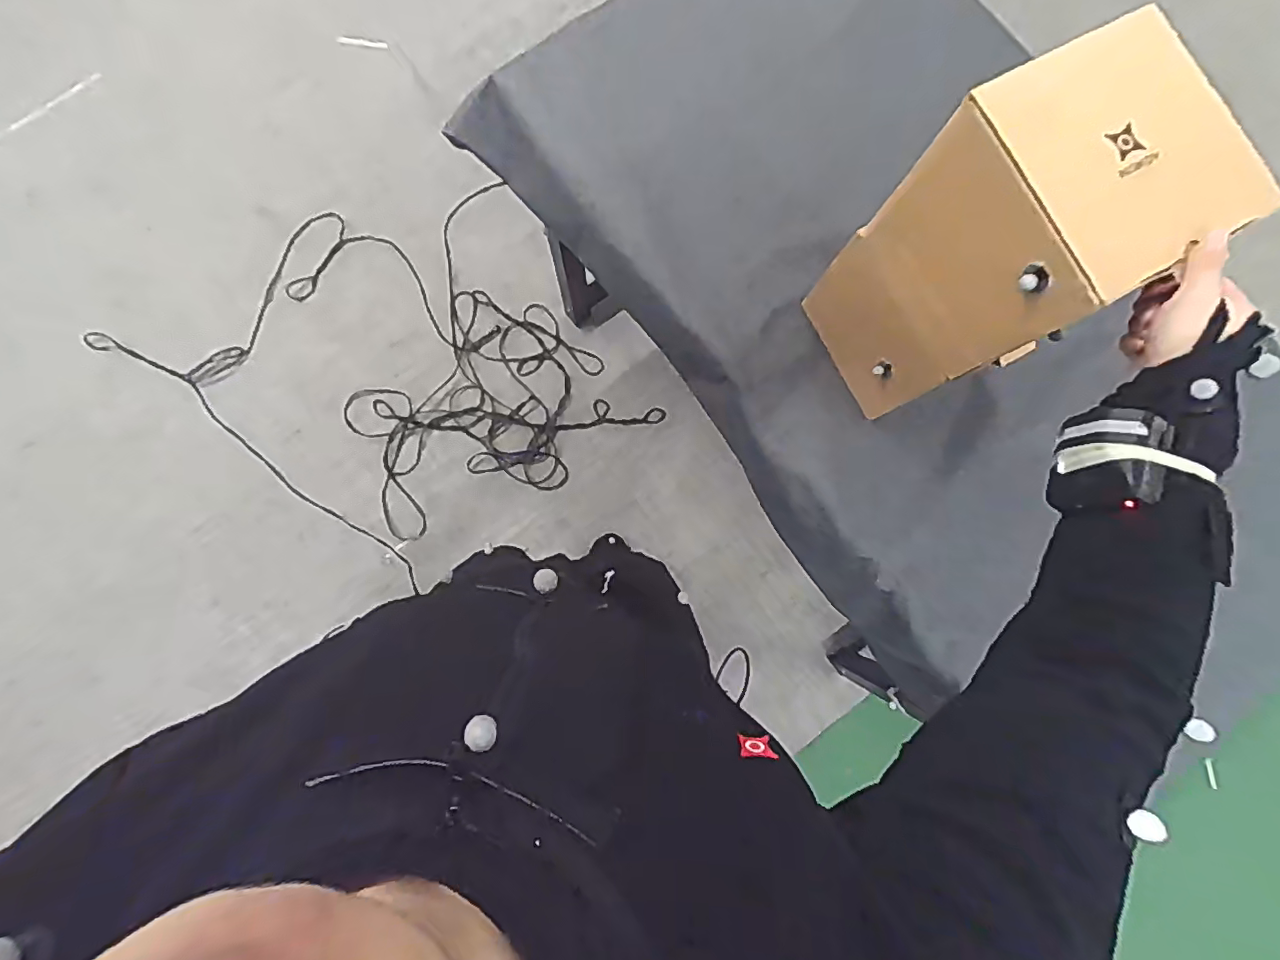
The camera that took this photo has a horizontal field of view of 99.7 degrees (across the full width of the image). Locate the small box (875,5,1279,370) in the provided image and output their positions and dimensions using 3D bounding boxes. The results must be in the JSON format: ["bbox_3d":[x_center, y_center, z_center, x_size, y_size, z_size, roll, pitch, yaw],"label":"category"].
[{"bbox_3d":[0.336,-0.221,0.452,0.168,0.176,0.179,-28,86,-6],"label":"small box"}]

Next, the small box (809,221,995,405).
[{"bbox_3d":[0.325,-0.201,0.614,0.168,0.176,0.179,-28,85,-6],"label":"small box"}]
